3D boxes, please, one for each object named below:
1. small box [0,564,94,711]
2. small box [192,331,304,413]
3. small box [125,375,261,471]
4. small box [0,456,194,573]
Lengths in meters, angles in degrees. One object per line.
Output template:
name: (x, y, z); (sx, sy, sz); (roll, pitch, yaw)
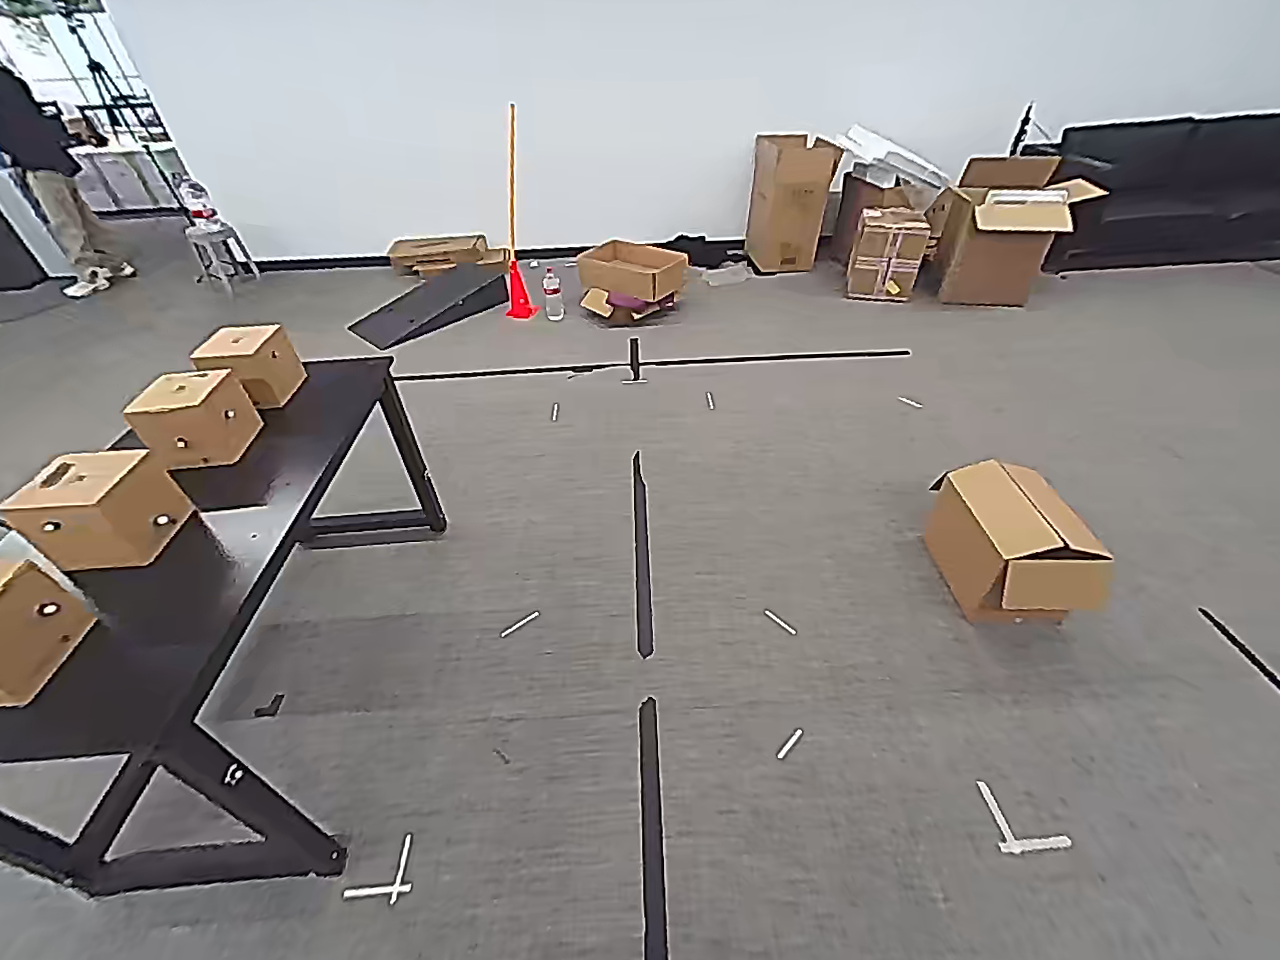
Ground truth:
small box: (-1.056, 0.256, 0.861); (0.179, 0.176, 0.168); (-5, 39, -2)
small box: (-1.083, -0.297, 1.515); (0.168, 0.176, 0.179); (-3, 41, -2)
small box: (-1.076, -0.134, 1.324); (0.168, 0.176, 0.179); (-6, 41, -5)
small box: (-1.064, 0.071, 1.080); (0.179, 0.176, 0.168); (-3, 40, -2)
